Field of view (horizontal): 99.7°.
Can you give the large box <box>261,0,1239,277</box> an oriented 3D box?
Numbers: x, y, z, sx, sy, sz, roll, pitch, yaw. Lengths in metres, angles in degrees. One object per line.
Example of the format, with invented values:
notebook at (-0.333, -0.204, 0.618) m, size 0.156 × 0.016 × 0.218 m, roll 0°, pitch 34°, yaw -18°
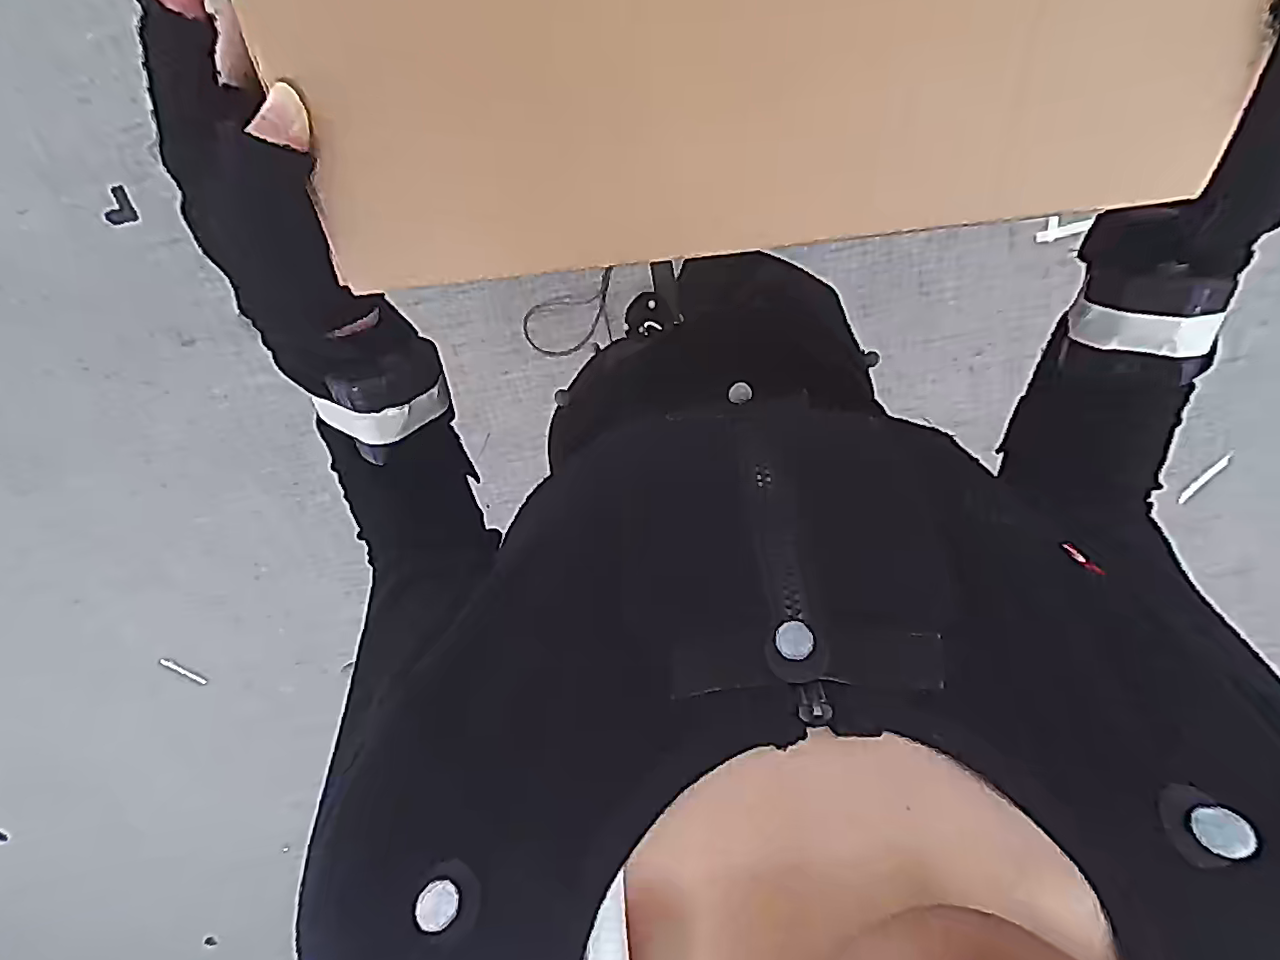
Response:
large box at (0.034, -0.333, 0.304) m, size 0.408 × 0.320 × 0.320 m, roll -6°, pitch 125°, yaw 1°
